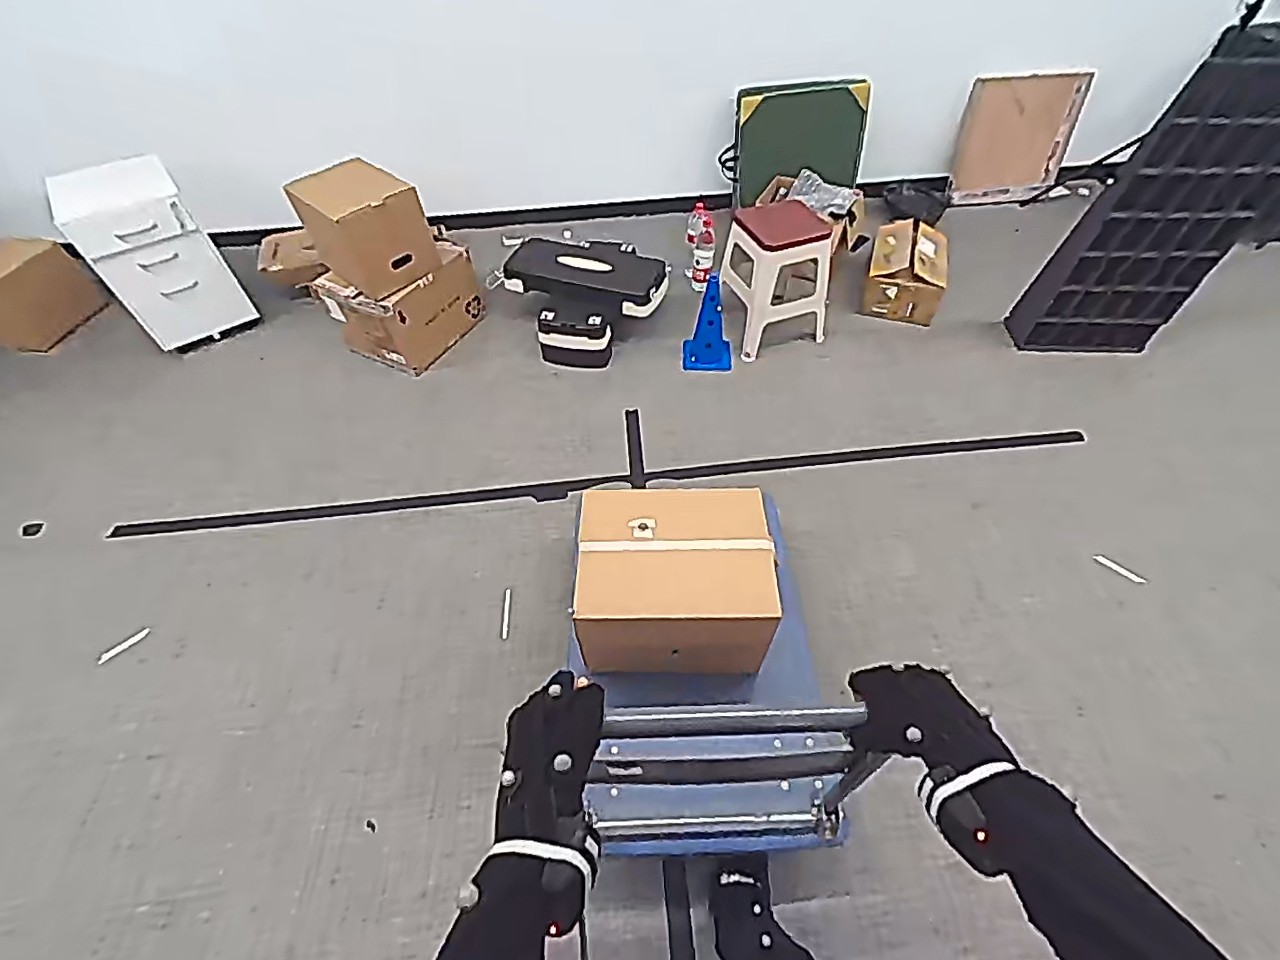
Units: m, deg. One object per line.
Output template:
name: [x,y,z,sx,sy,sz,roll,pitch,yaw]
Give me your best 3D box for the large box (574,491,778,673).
large box: [0.076,0.244,1.254,0.408,0.320,0.320,-2,51,2]
